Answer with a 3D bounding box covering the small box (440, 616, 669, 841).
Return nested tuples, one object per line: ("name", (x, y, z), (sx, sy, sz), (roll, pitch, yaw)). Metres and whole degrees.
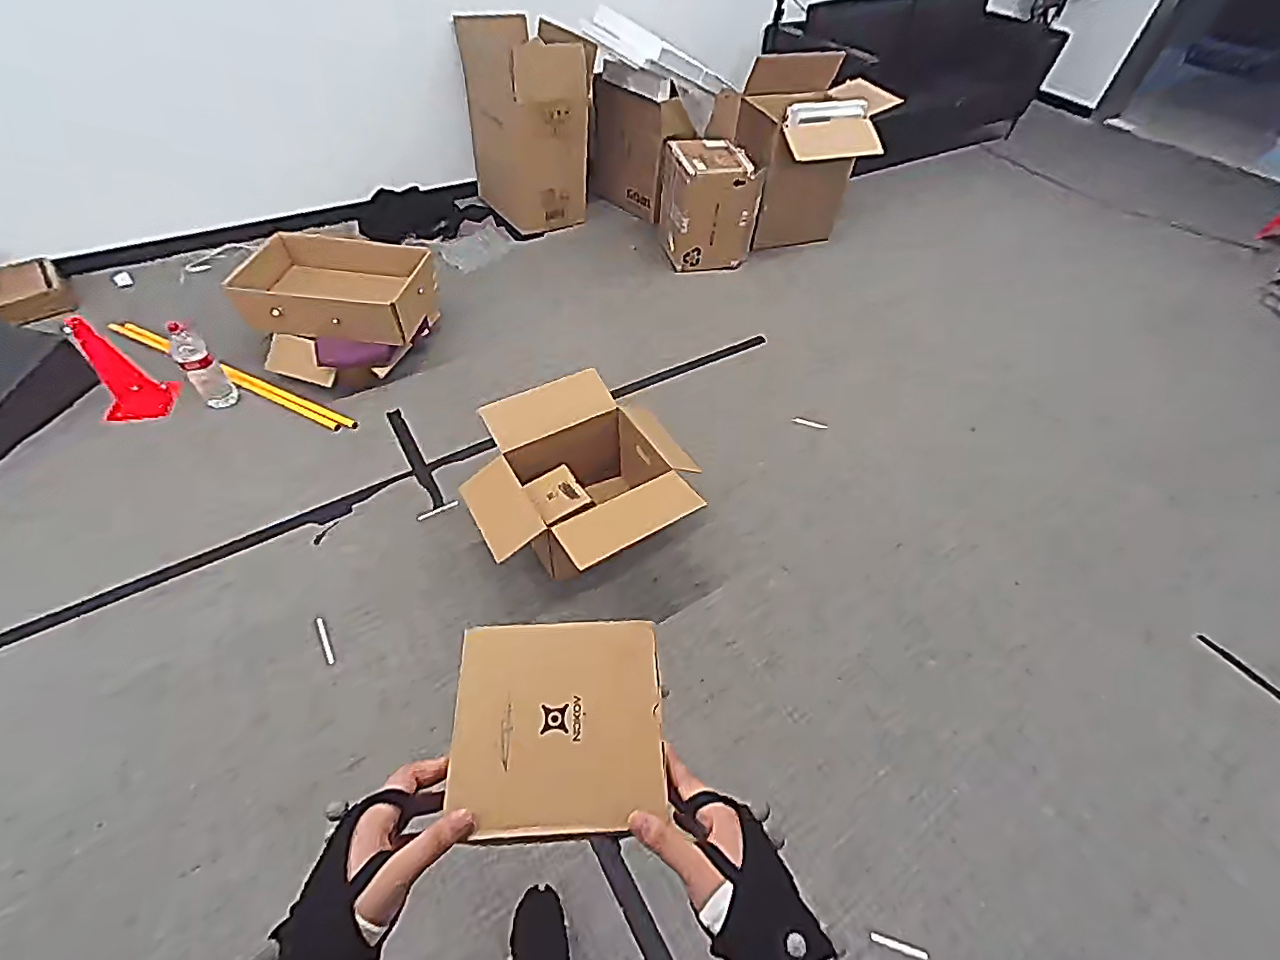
("small box", (-0.072, 0.242, 0.519), (0.179, 0.176, 0.168), (-3, 55, -4))
